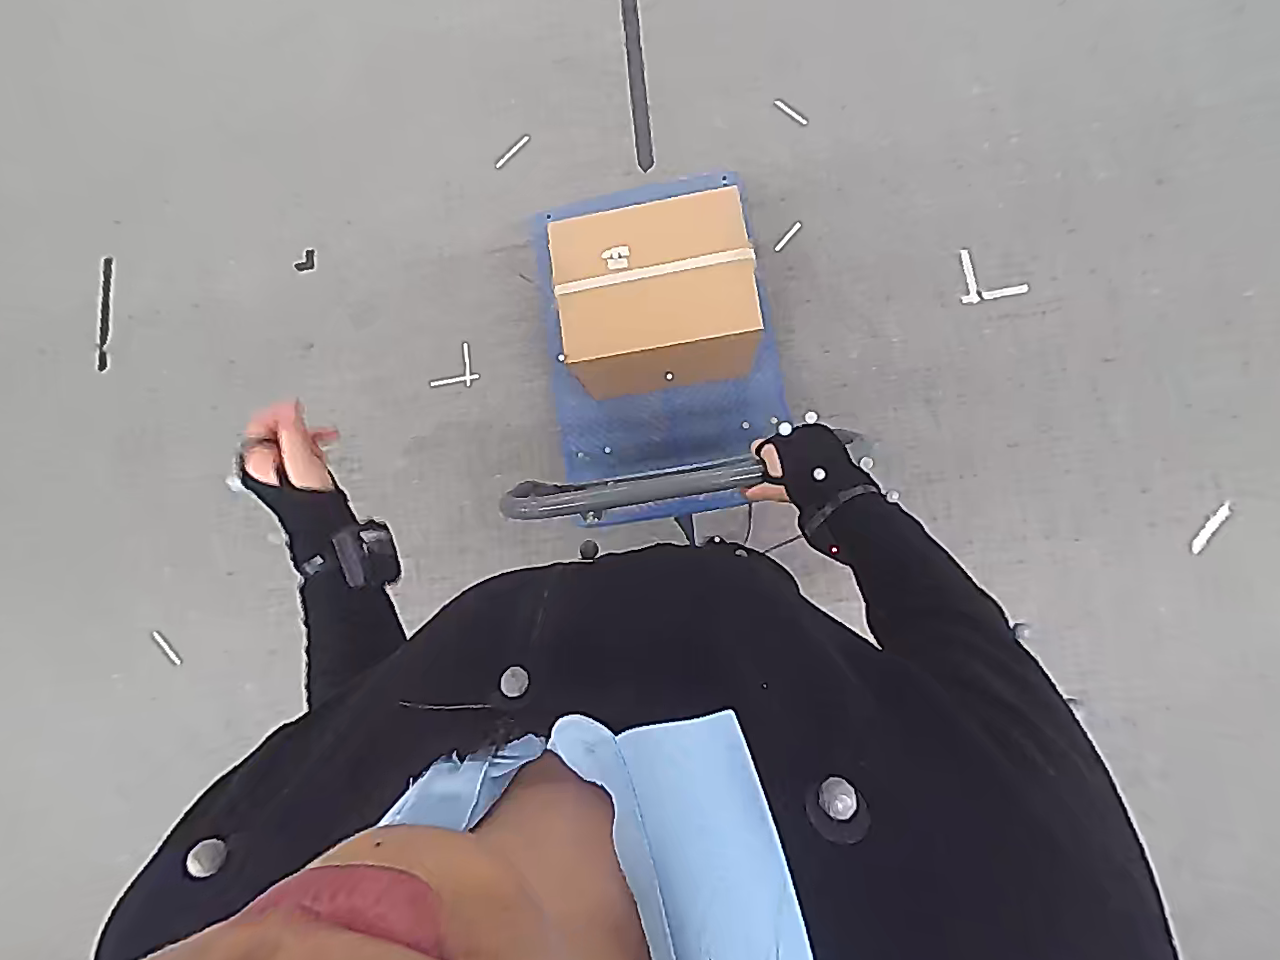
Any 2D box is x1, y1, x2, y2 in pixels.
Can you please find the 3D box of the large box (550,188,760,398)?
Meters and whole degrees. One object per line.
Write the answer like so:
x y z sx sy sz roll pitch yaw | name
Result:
0.044 -0.405 1.261 0.408 0.320 0.320 -9 82 6 | large box
